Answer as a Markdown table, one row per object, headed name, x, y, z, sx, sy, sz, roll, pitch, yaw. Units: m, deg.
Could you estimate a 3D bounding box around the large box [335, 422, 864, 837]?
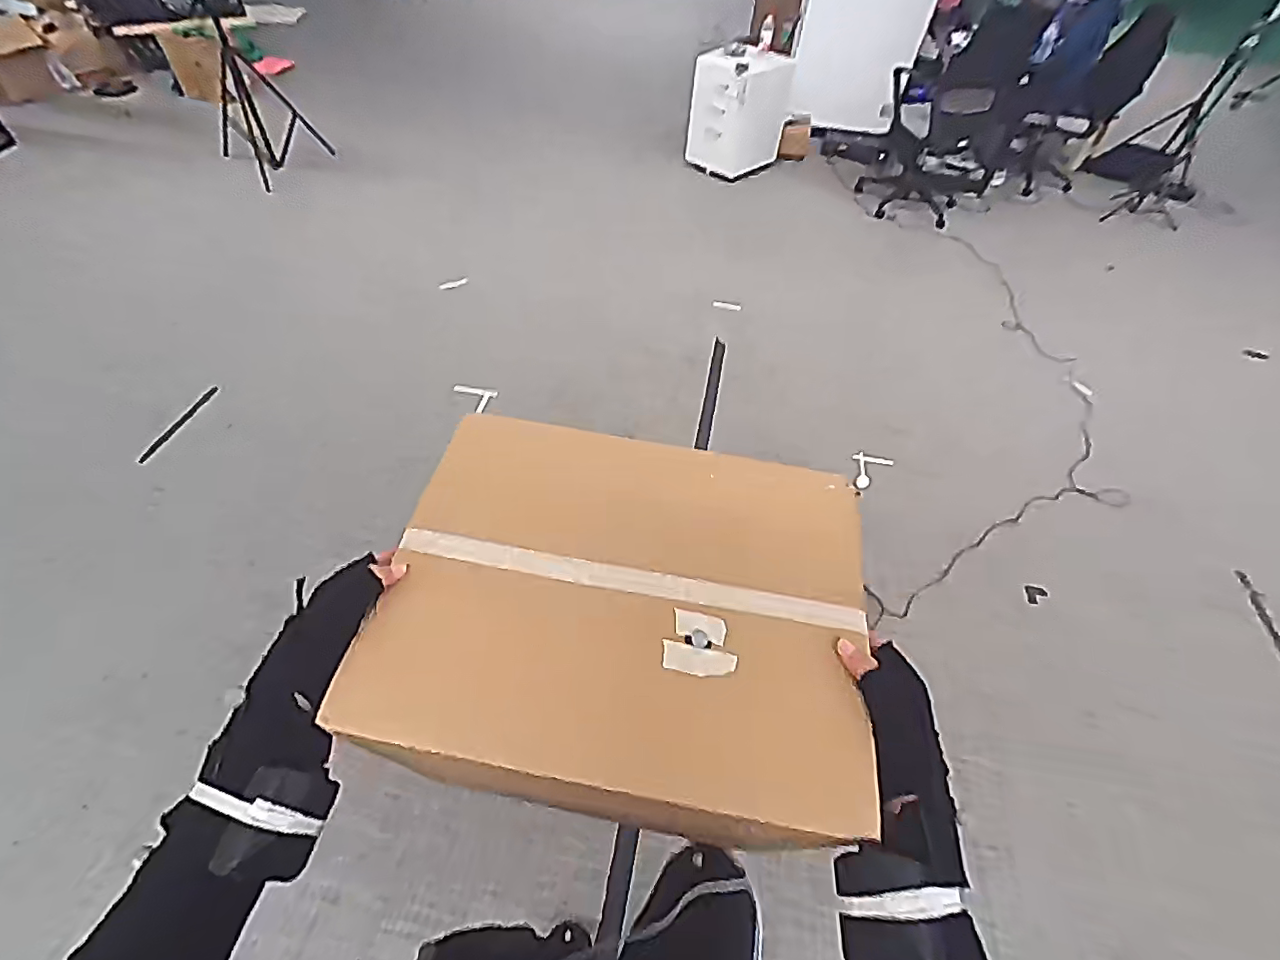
| name | x | y | z | sx | sy | sz | roll | pitch | yaw |
| --- | --- | --- | --- | --- | --- | --- | --- | --- | --- |
| large box | -0.022 | 0.176 | 0.600 | 0.408 | 0.320 | 0.320 | 10 | 56 | 3 |
